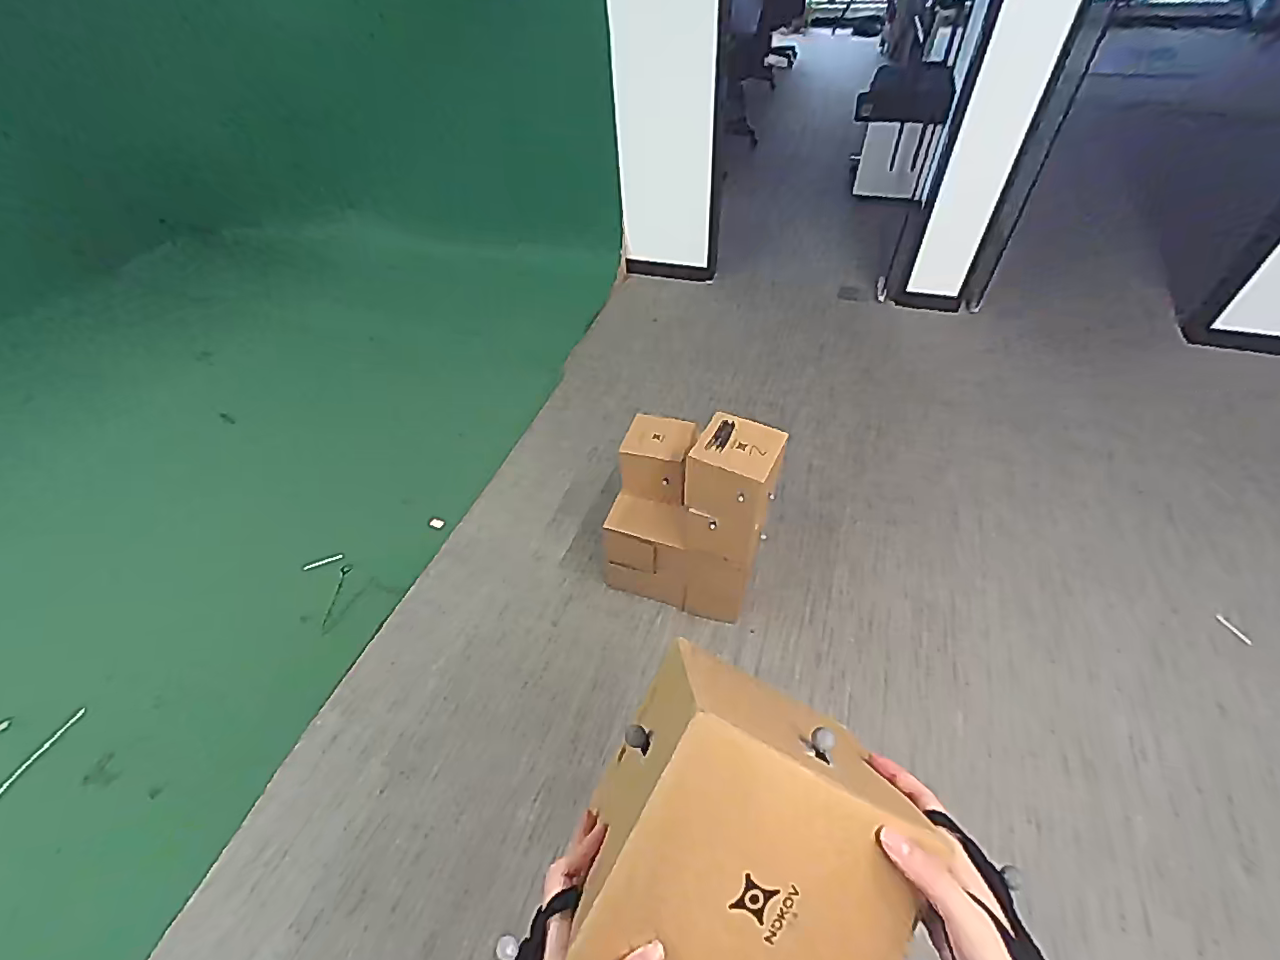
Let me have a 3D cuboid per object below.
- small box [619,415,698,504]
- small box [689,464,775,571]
[{"bbox_3d":[0.055,-0.053,1.507,0.179,0.176,0.168,11,47,15],"label":"small box"},{"bbox_3d":[0.225,0.095,1.355,0.168,0.176,0.179,17,50,17],"label":"small box"}]
